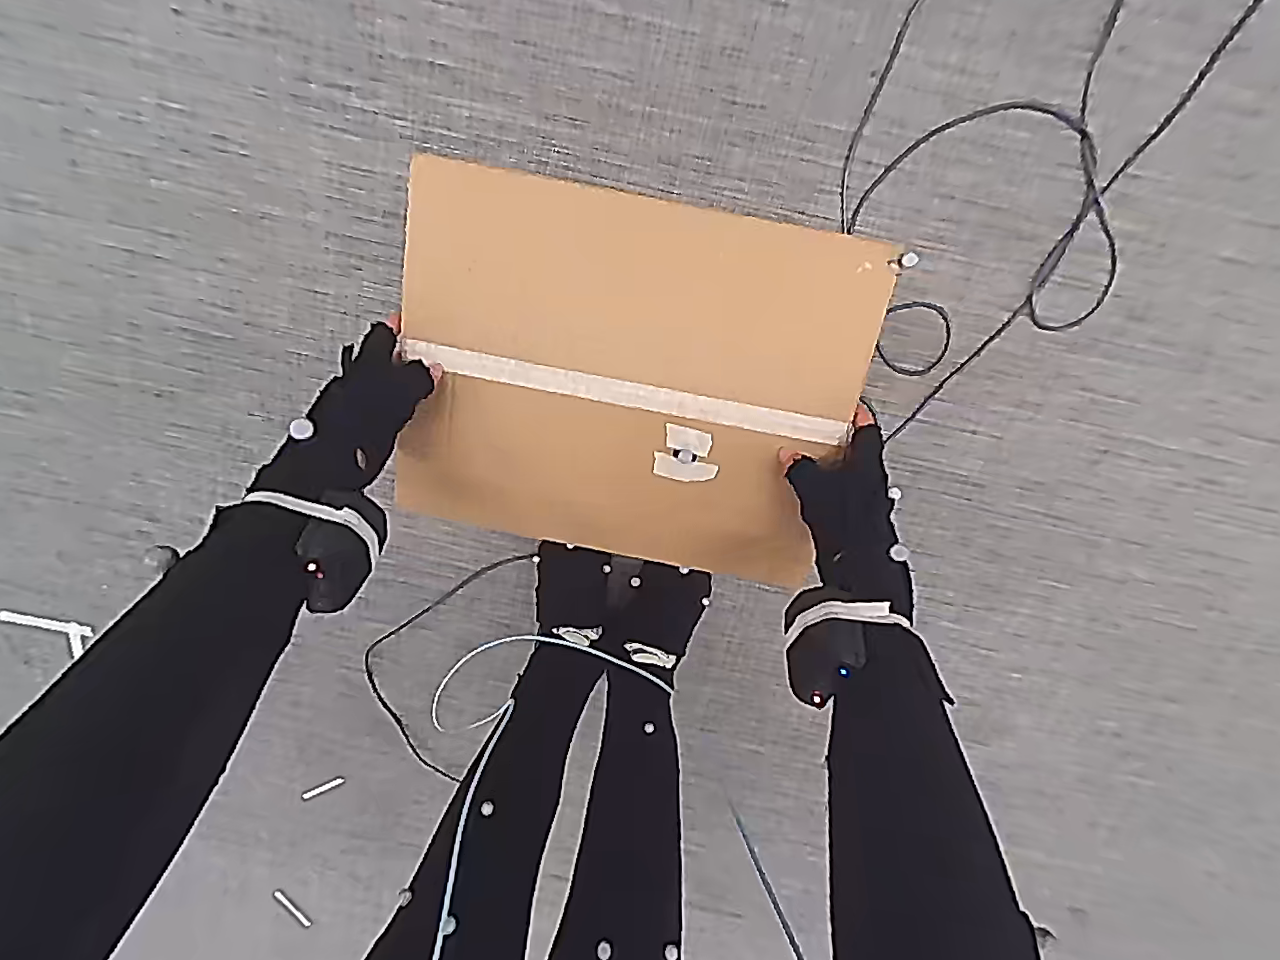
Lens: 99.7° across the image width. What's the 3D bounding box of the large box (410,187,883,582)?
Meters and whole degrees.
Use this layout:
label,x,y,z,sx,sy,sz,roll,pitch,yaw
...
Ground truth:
label,x,y,z,sx,sy,sz,roll,pitch,yaw
large box,-0.007,-0.114,0.640,0.408,0.320,0.320,11,108,0
